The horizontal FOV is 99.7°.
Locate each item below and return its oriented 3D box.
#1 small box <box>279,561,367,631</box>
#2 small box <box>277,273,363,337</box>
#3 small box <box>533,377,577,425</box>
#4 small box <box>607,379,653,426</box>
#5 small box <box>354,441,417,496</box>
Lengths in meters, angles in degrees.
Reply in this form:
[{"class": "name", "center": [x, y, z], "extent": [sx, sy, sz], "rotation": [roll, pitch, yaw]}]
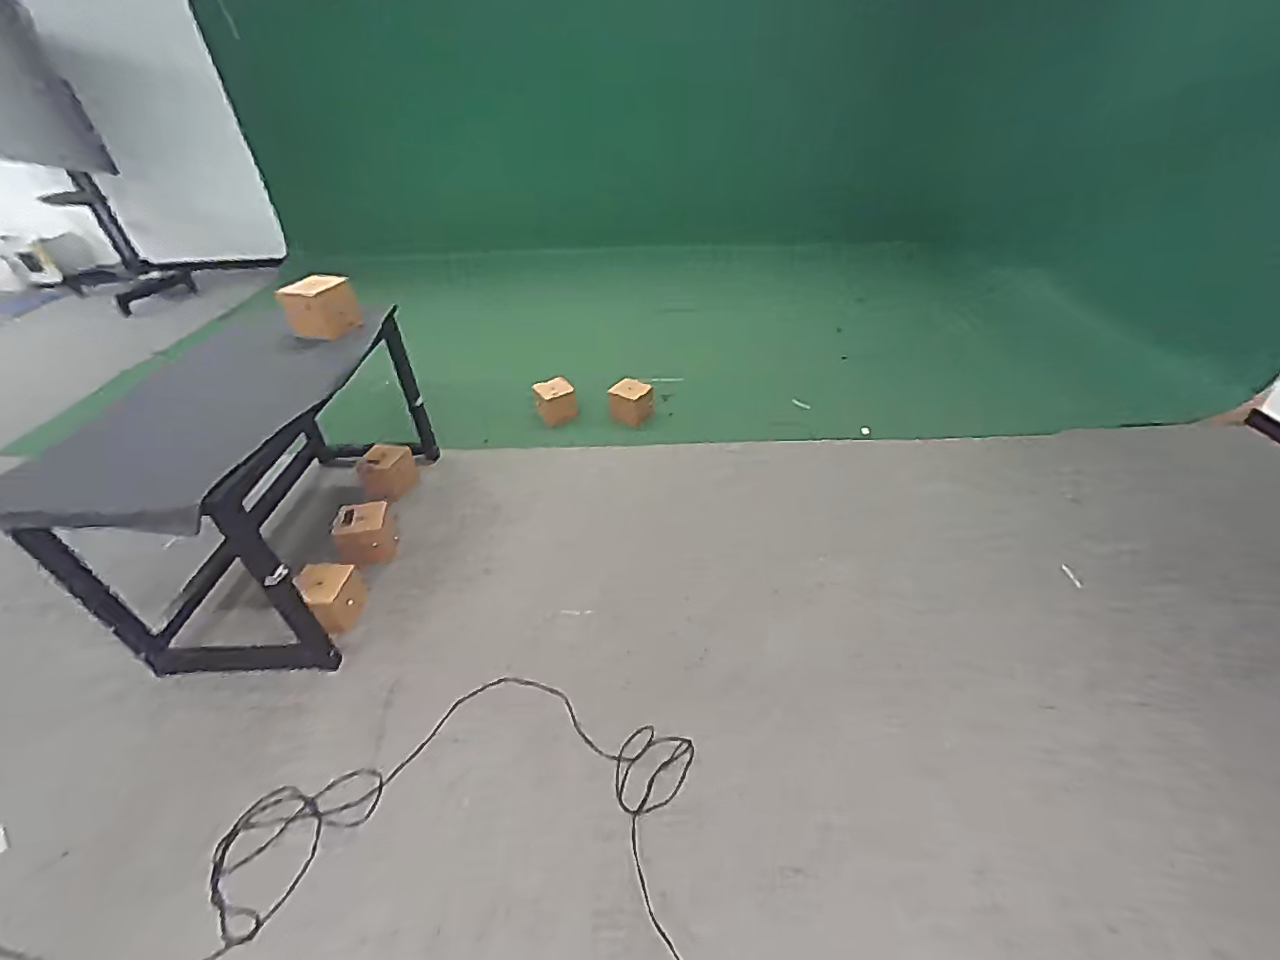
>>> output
[{"class": "small box", "center": [-1.064, 0.396, 1.836], "extent": [0.179, 0.176, 0.168], "rotation": [1, 39, 4]}, {"class": "small box", "center": [-1.137, -0.627, 1.938], "extent": [0.179, 0.176, 0.168], "rotation": [10, 40, 18]}, {"class": "small box", "center": [-0.443, -0.411, 2.817], "extent": [0.168, 0.176, 0.179], "rotation": [-23, 42, -24]}, {"class": "small box", "center": [-0.048, -0.396, 2.784], "extent": [0.179, 0.176, 0.168], "rotation": [22, 43, 27]}, {"class": "small box", "center": [-1.115, -0.047, 2.384], "extent": [0.168, 0.176, 0.179], "rotation": [7, 38, 10]}]
